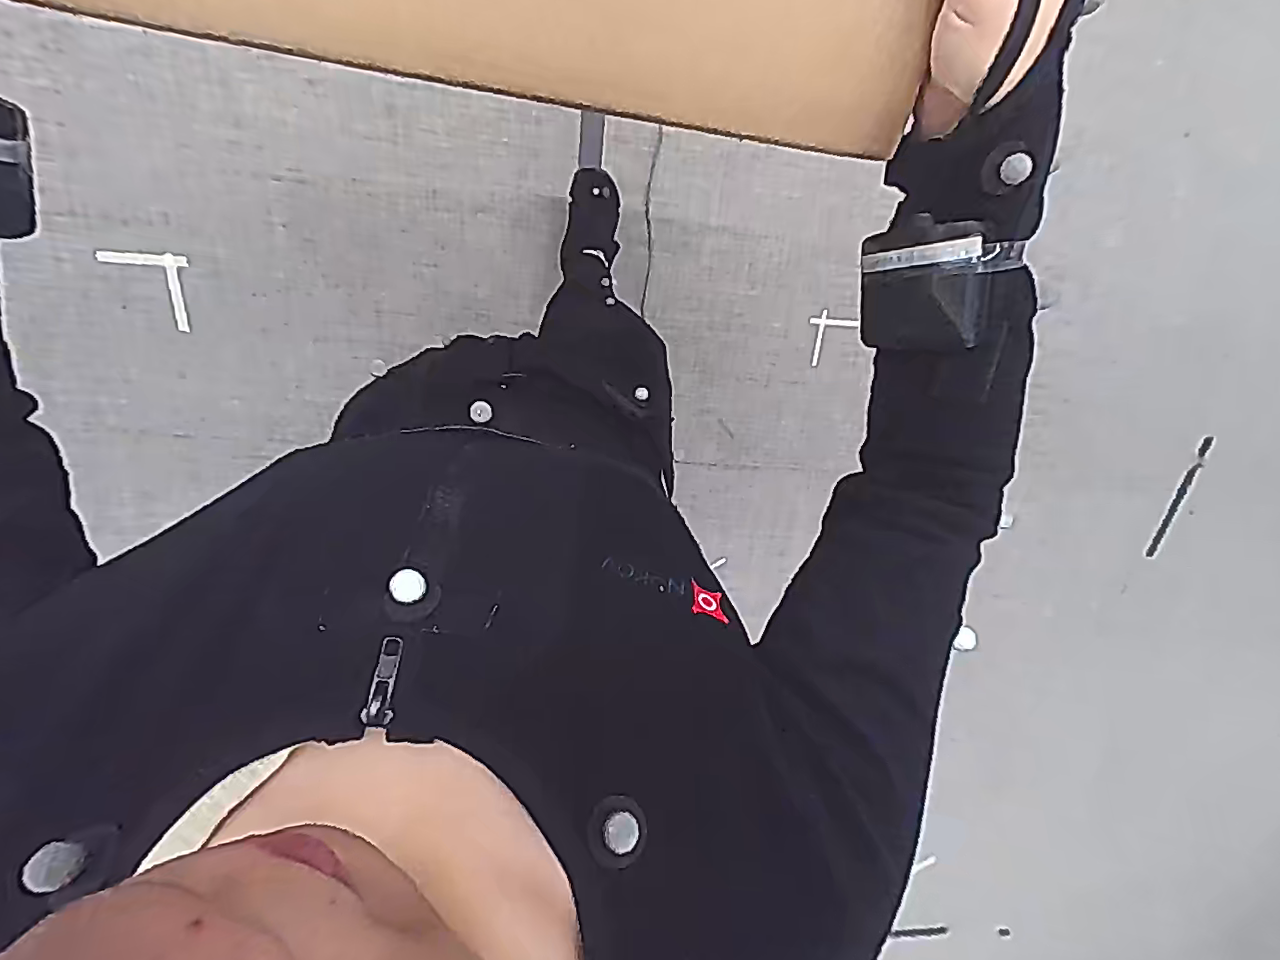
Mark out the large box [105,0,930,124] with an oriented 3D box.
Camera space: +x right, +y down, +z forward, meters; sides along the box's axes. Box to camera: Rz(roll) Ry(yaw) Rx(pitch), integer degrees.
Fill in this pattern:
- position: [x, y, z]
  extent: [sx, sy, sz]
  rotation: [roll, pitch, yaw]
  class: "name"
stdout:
- position: [-0.059, -0.407, 0.287]
  extent: [0.408, 0.320, 0.320]
  rotation: [4, 126, -10]
  class: "large box"
